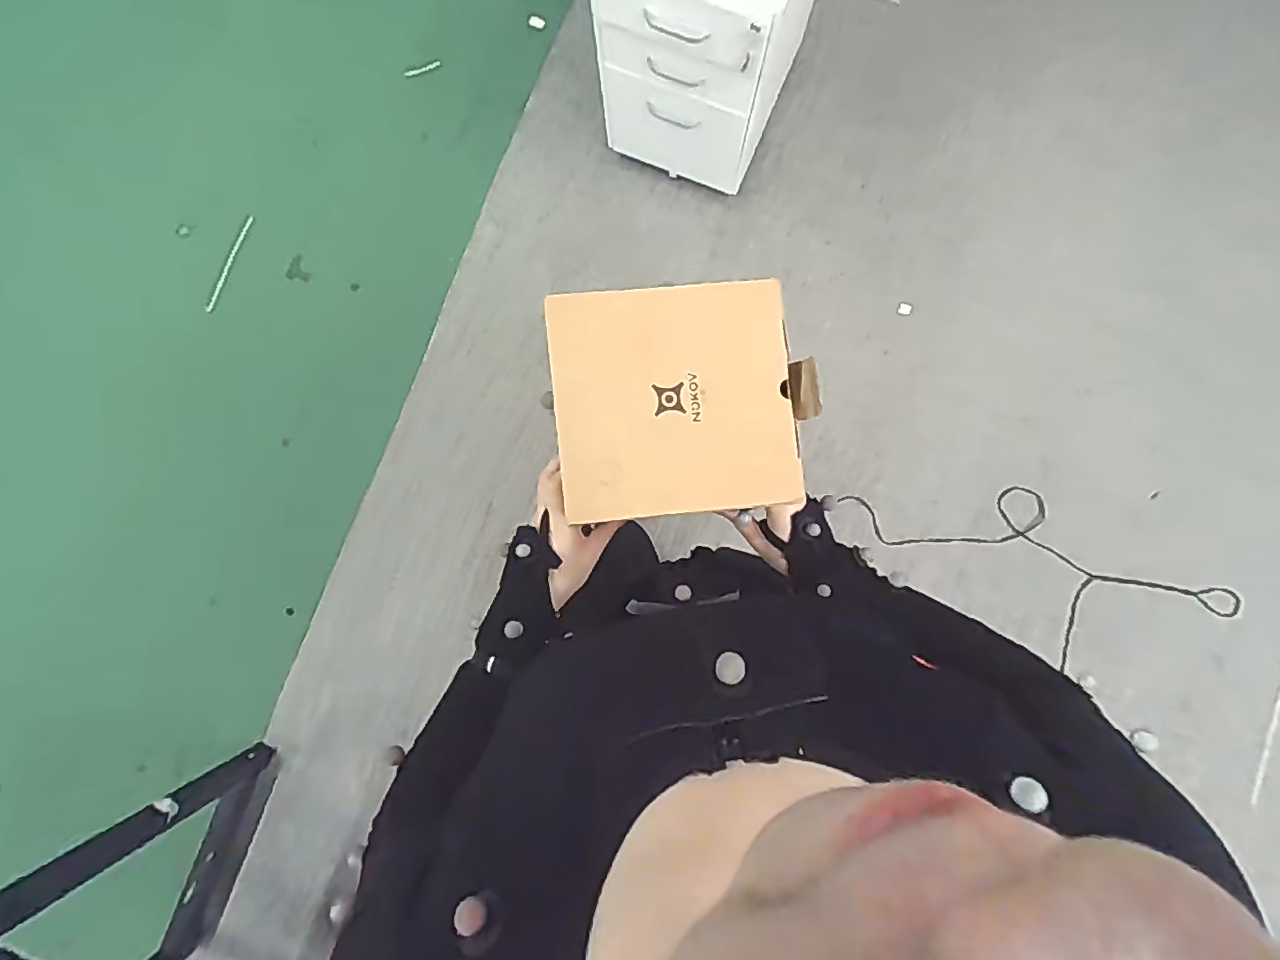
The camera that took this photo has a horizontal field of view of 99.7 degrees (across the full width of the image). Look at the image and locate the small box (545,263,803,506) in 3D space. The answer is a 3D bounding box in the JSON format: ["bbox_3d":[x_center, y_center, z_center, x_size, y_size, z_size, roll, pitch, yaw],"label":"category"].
[{"bbox_3d":[0.019,-0.067,0.467,0.179,0.176,0.168,-5,87,-6],"label":"small box"}]
